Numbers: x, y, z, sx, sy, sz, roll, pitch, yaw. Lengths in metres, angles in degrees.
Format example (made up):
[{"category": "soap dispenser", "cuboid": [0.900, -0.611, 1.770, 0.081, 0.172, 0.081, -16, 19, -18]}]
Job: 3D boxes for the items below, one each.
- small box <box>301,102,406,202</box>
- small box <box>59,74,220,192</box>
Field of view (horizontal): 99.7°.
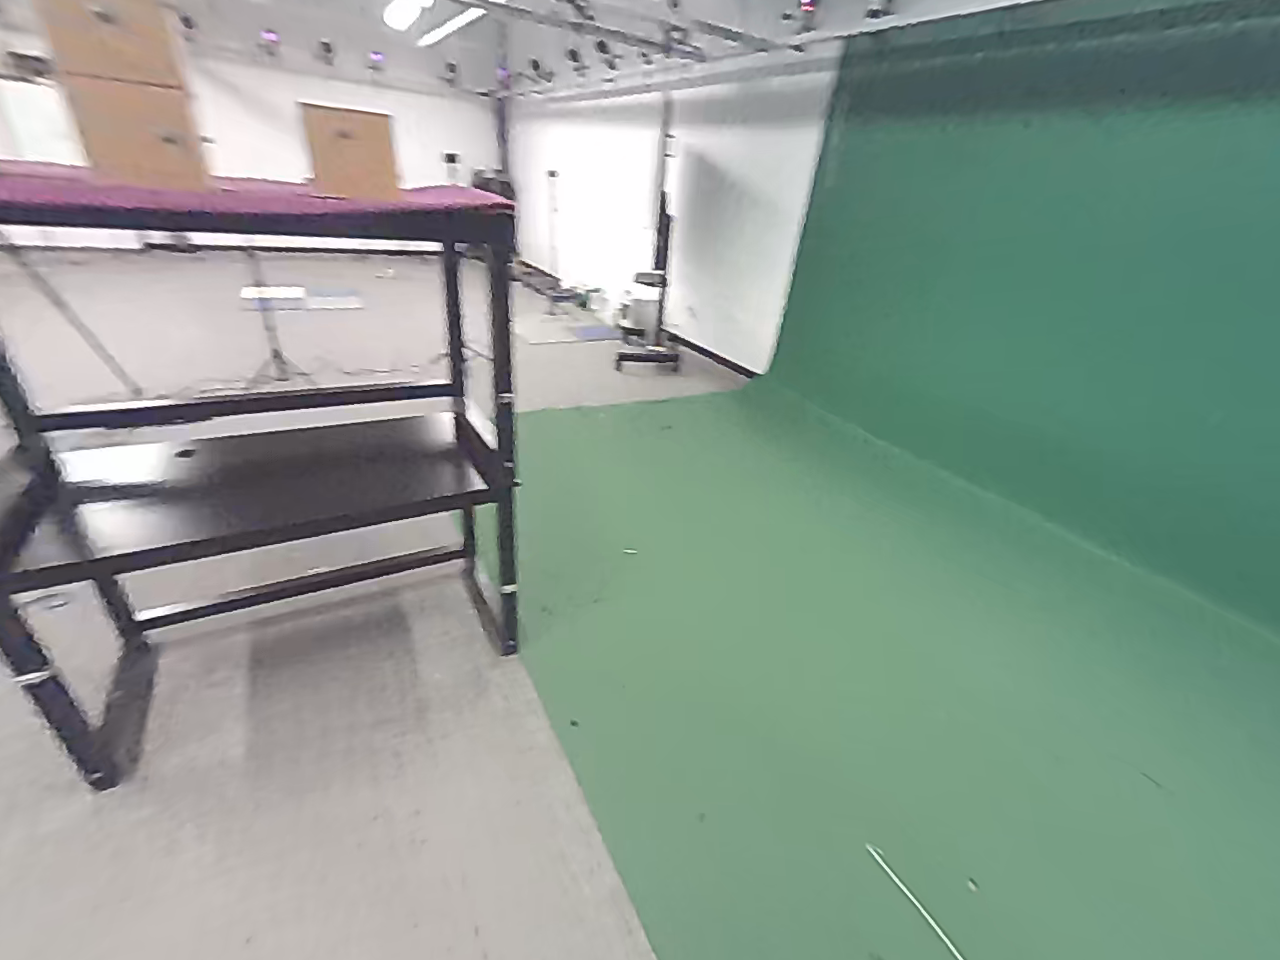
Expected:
[{"category": "small box", "cuboid": [-0.634, -0.719, 1.202, 0.179, 0.176, 0.168, -10, 31, -27]}, {"category": "small box", "cuboid": [-0.924, -0.645, 1.022, 0.179, 0.176, 0.168, -13, 34, -29]}]
